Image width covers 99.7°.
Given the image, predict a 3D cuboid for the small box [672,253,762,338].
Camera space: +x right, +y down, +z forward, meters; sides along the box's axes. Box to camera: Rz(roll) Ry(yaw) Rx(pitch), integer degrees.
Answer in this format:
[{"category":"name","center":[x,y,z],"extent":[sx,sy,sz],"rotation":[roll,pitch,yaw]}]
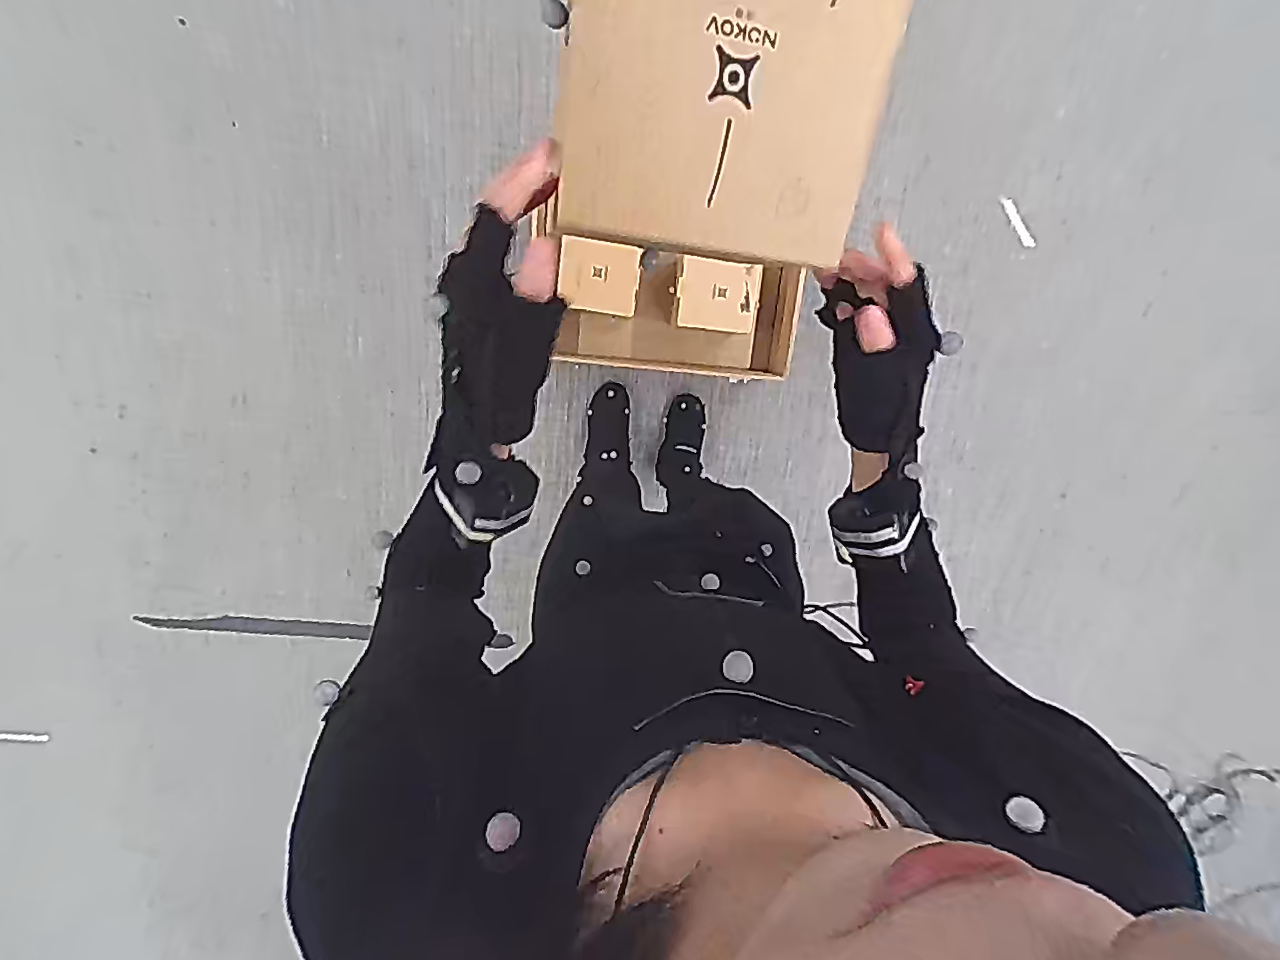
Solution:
[{"category":"small box","center":[0.173,-0.430,1.284],"extent":[0.179,0.176,0.168],"rotation":[5,104,-3]}]

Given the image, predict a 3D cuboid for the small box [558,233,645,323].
[{"category":"small box","center":[-0.091,-0.461,1.259],"extent":[0.179,0.176,0.168],"rotation":[7,103,-6]}]
